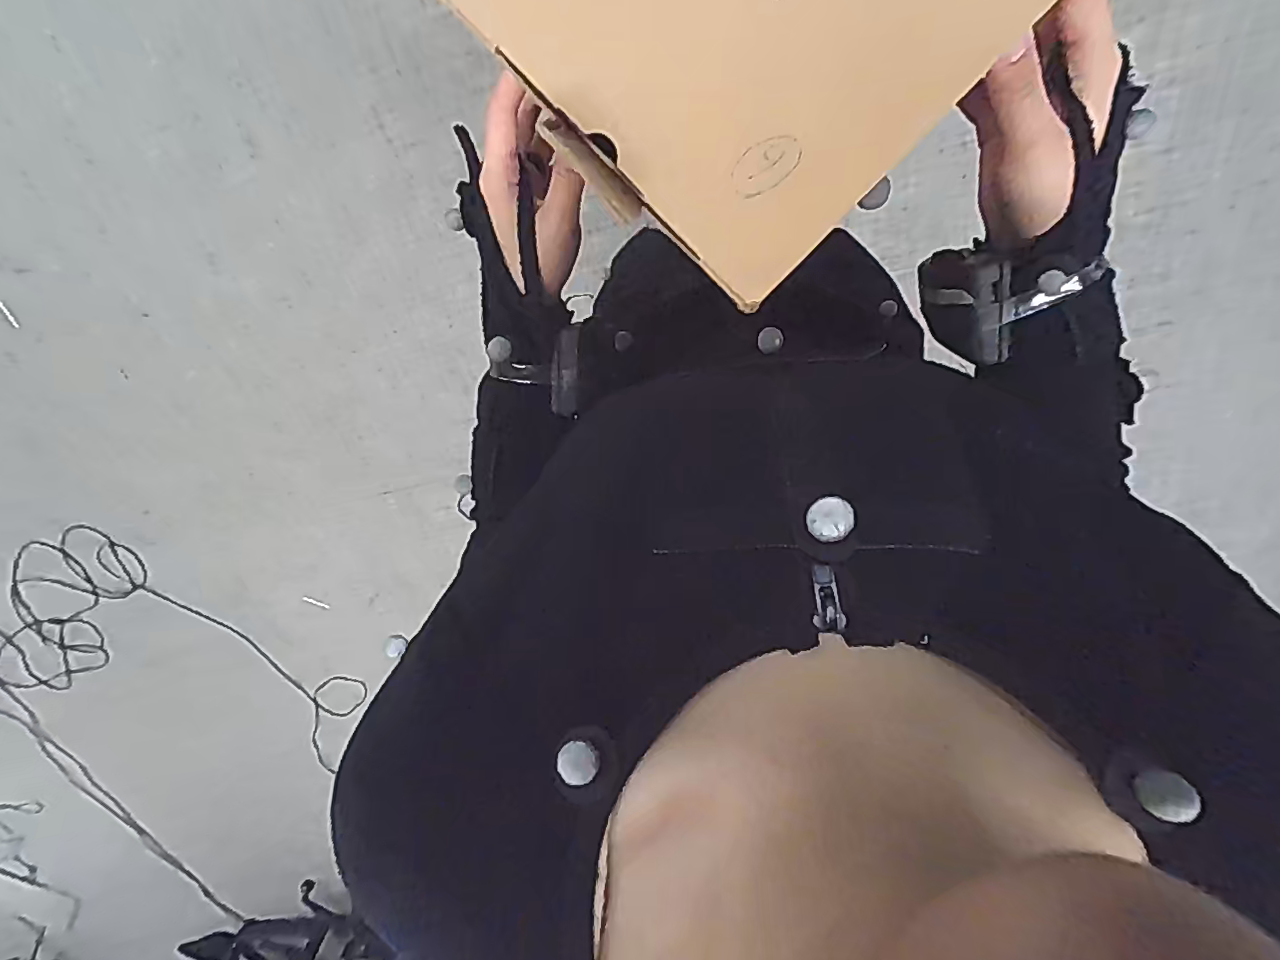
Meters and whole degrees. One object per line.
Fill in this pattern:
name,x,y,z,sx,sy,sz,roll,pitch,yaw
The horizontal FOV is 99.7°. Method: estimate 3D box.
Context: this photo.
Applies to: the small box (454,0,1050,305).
small box,0.057,-0.211,0.255,0.168,0.176,0.179,42,115,-9
